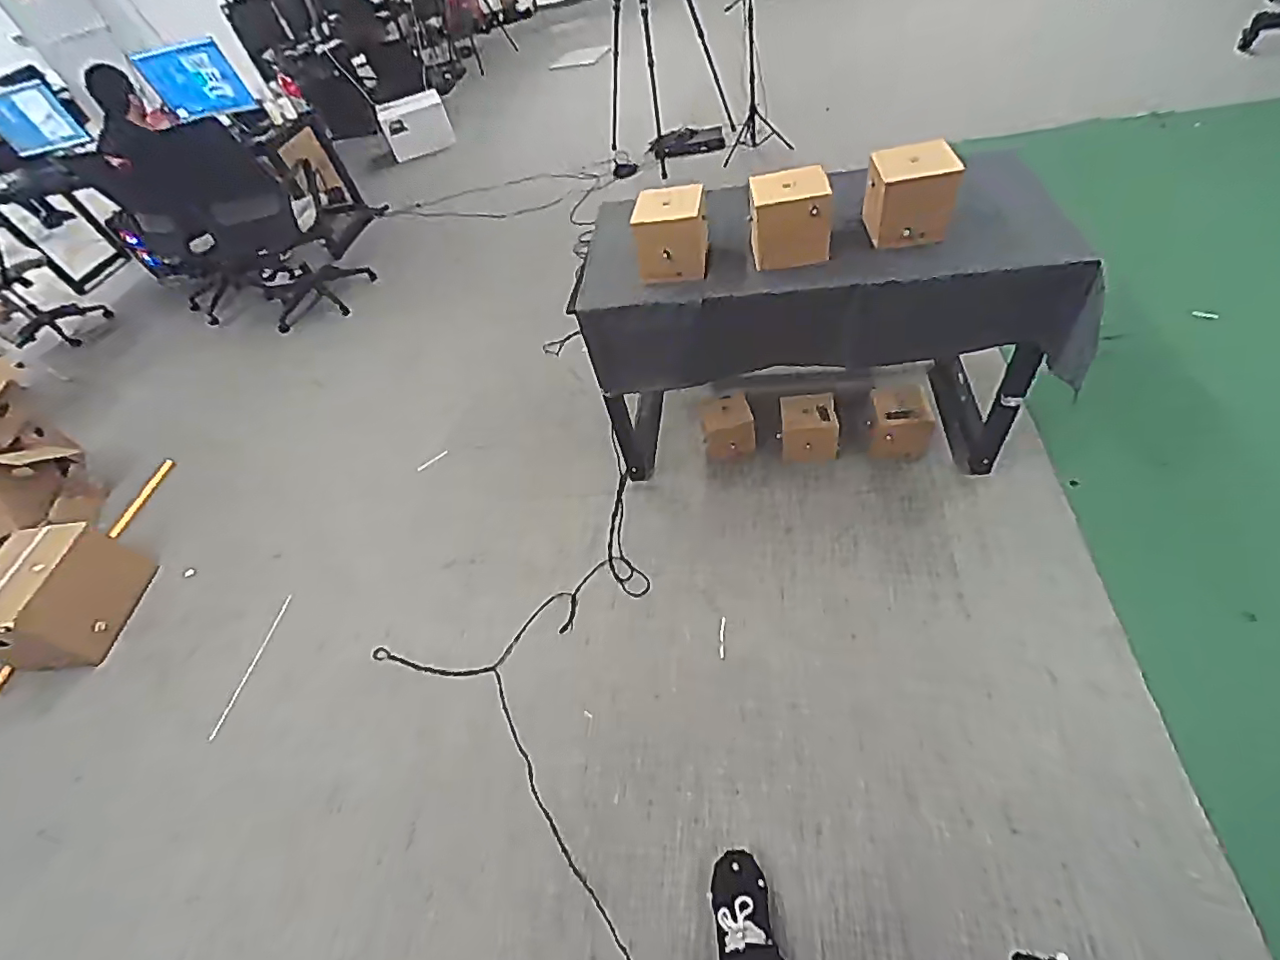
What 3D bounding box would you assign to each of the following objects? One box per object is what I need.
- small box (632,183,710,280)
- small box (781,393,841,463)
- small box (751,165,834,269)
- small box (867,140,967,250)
[{"bbox_3d":[0.086,-0.627,1.384,0.168,0.176,0.179,1,51,14],"label":"small box"},{"bbox_3d":[0.579,-0.174,1.848,0.179,0.176,0.168,-4,50,13],"label":"small box"},{"bbox_3d":[0.370,-0.639,1.328,0.179,0.176,0.168,-5,50,10],"label":"small box"},{"bbox_3d":[0.648,-0.677,1.289,0.168,0.176,0.179,-4,50,12],"label":"small box"}]
